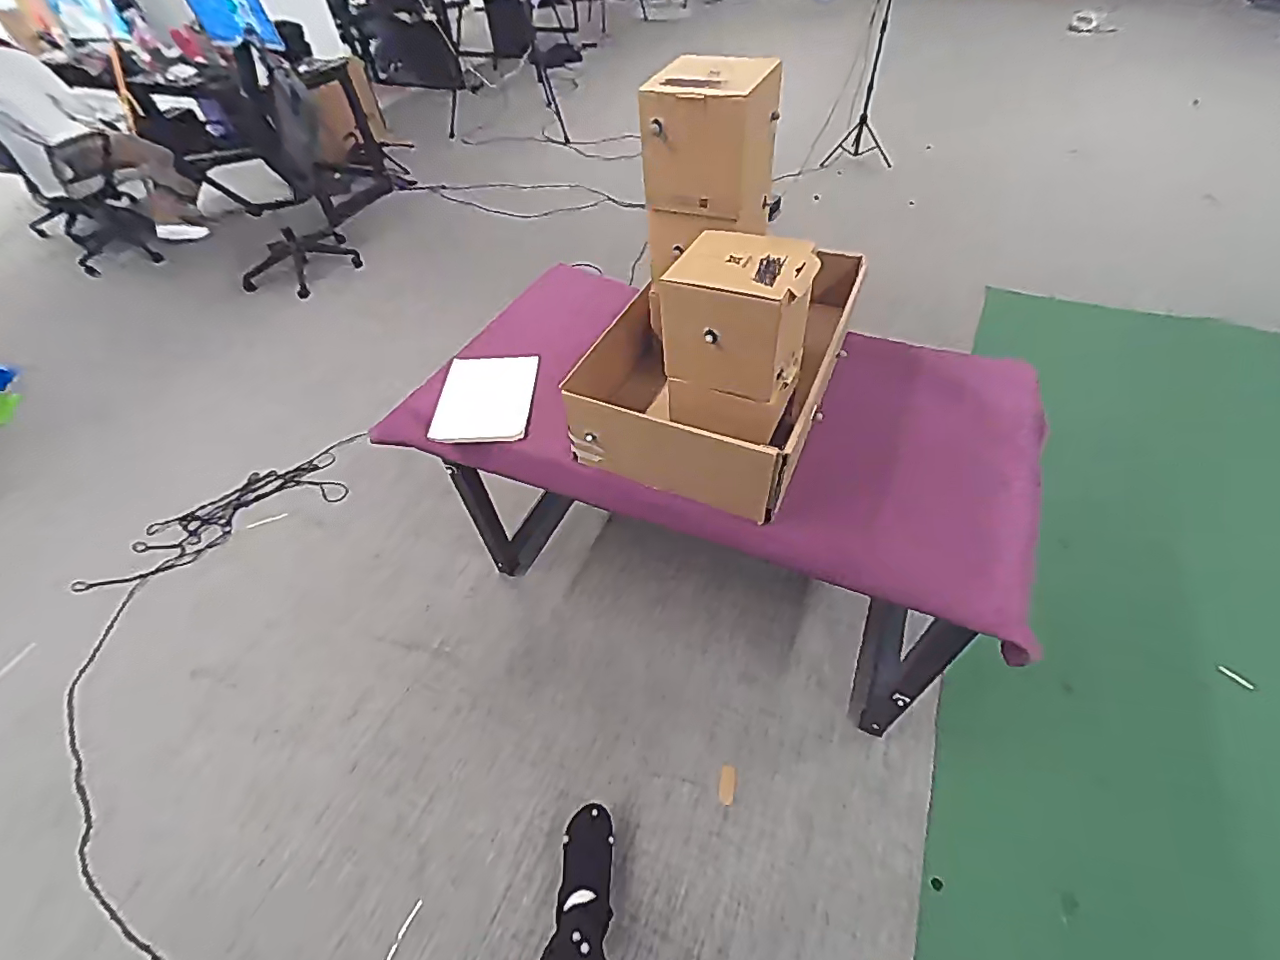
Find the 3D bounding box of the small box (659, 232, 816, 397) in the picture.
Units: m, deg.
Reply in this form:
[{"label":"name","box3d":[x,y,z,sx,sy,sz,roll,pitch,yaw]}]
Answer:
[{"label":"small box","box3d":[0.146,-0.248,0.818,0.179,0.176,0.168,18,52,22]}]

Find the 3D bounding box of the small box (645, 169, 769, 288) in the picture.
[{"label":"small box","box3d":[0.127,-0.443,0.996,0.168,0.176,0.179,19,55,20]}]
